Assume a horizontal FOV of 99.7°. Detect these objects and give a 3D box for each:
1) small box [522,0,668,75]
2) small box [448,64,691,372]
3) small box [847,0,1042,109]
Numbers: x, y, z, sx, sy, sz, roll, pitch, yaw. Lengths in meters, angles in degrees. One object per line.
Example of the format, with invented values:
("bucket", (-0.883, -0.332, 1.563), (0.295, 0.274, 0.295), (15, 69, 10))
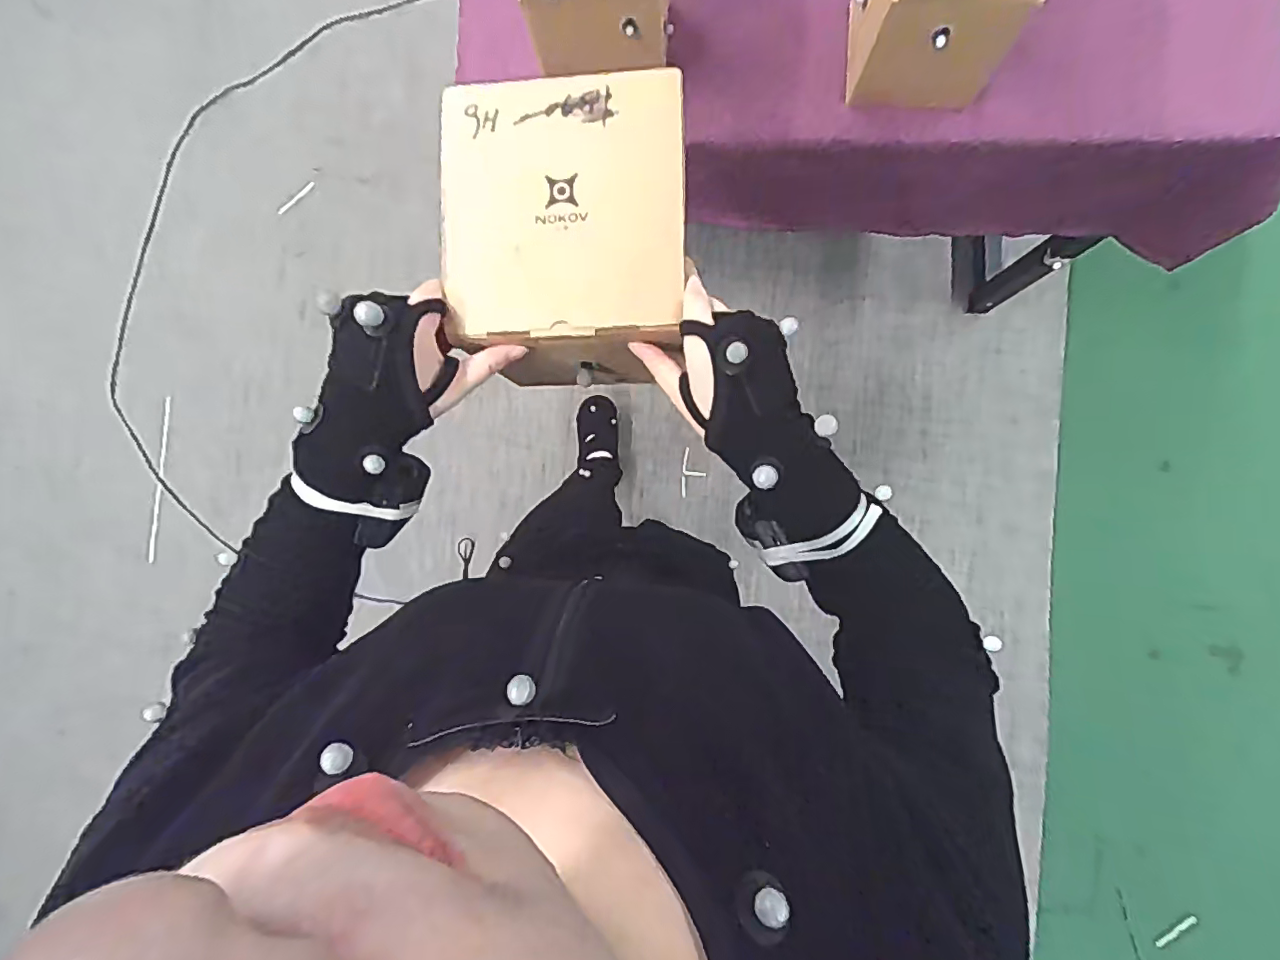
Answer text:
("small box", (-0.052, -0.650, 0.732), (0.179, 0.176, 0.168), (2, 87, 2))
("small box", (-0.042, -0.187, 0.443), (0.168, 0.176, 0.179), (0, 90, 5))
("small box", (0.387, -0.626, 0.711), (0.179, 0.176, 0.168), (4, 88, 3))
